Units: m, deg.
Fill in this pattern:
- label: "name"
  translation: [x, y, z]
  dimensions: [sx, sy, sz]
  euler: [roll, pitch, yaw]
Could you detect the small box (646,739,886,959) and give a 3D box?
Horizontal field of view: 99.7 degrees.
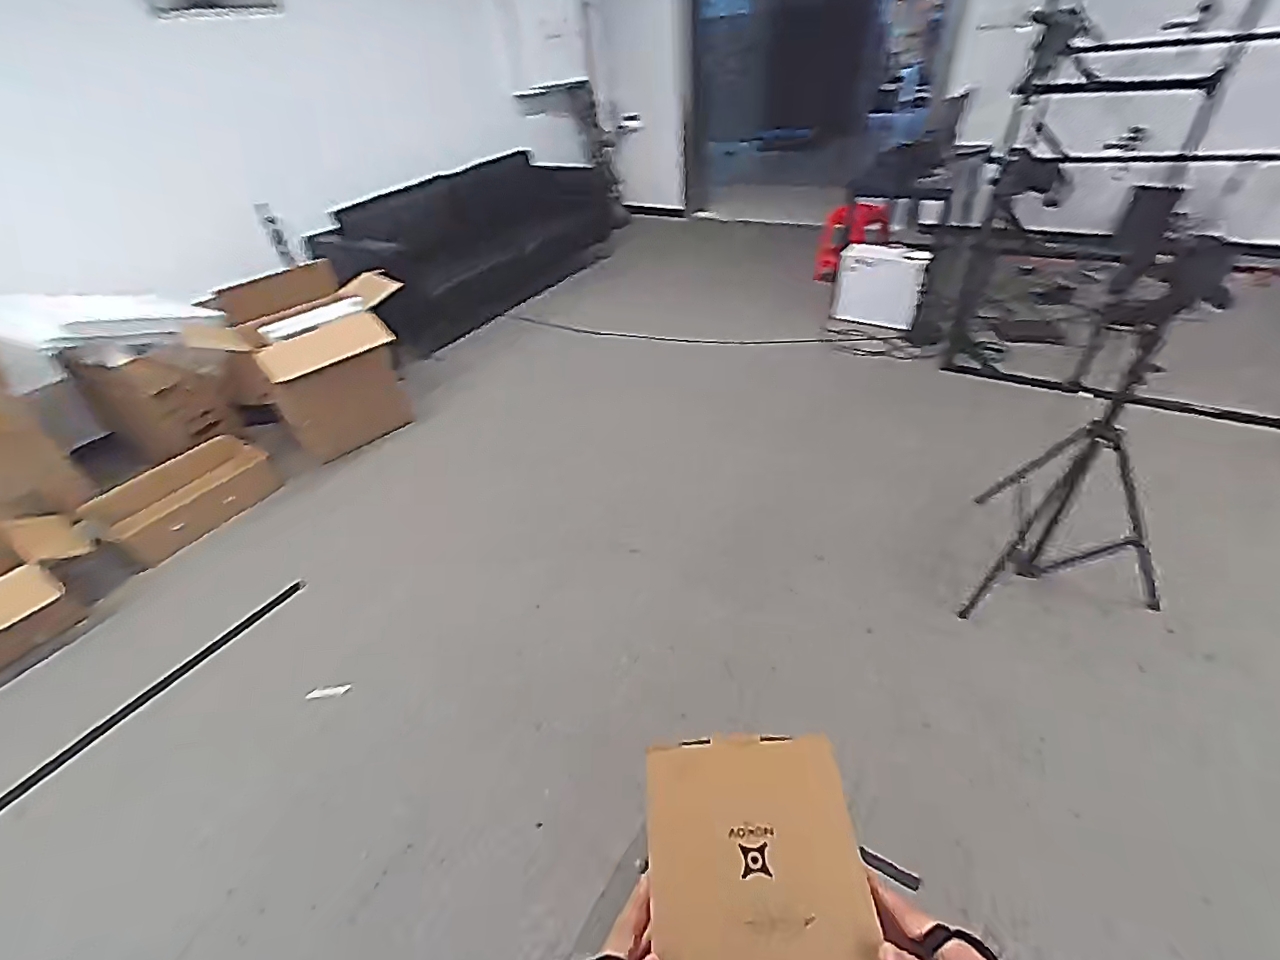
- label: "small box"
  translation: [0.090, 0.353, 0.475]
  dimensions: [0.168, 0.176, 0.179]
  euler: [-3, 44, 0]
